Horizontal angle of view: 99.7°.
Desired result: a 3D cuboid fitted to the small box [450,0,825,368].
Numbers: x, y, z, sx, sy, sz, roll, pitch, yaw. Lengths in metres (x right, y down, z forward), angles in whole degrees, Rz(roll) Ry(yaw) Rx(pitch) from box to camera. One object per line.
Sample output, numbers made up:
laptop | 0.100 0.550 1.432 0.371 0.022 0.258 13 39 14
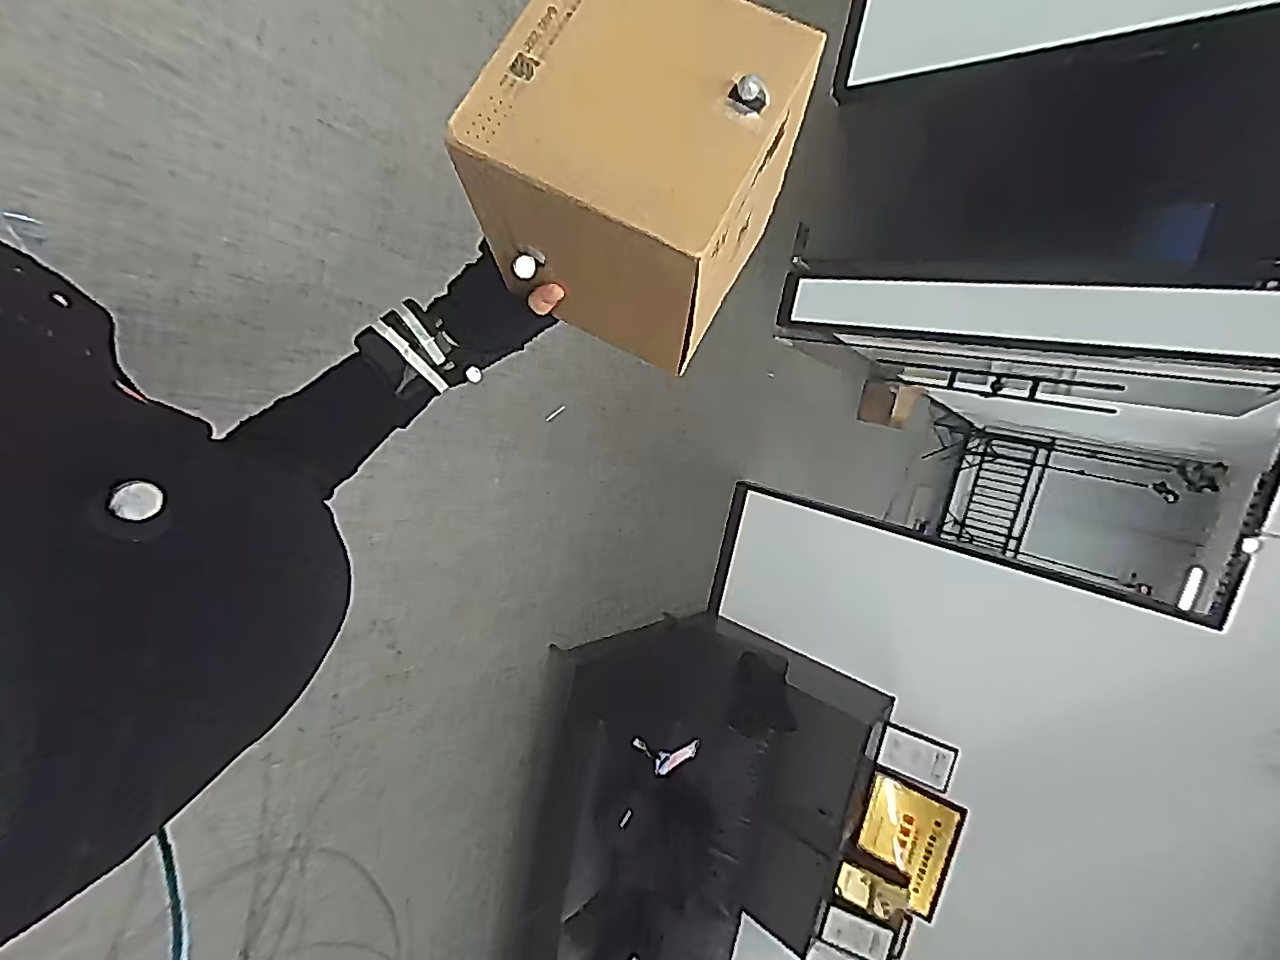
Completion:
small box | -0.004 -0.214 0.389 0.168 0.176 0.179 -62 176 -9
